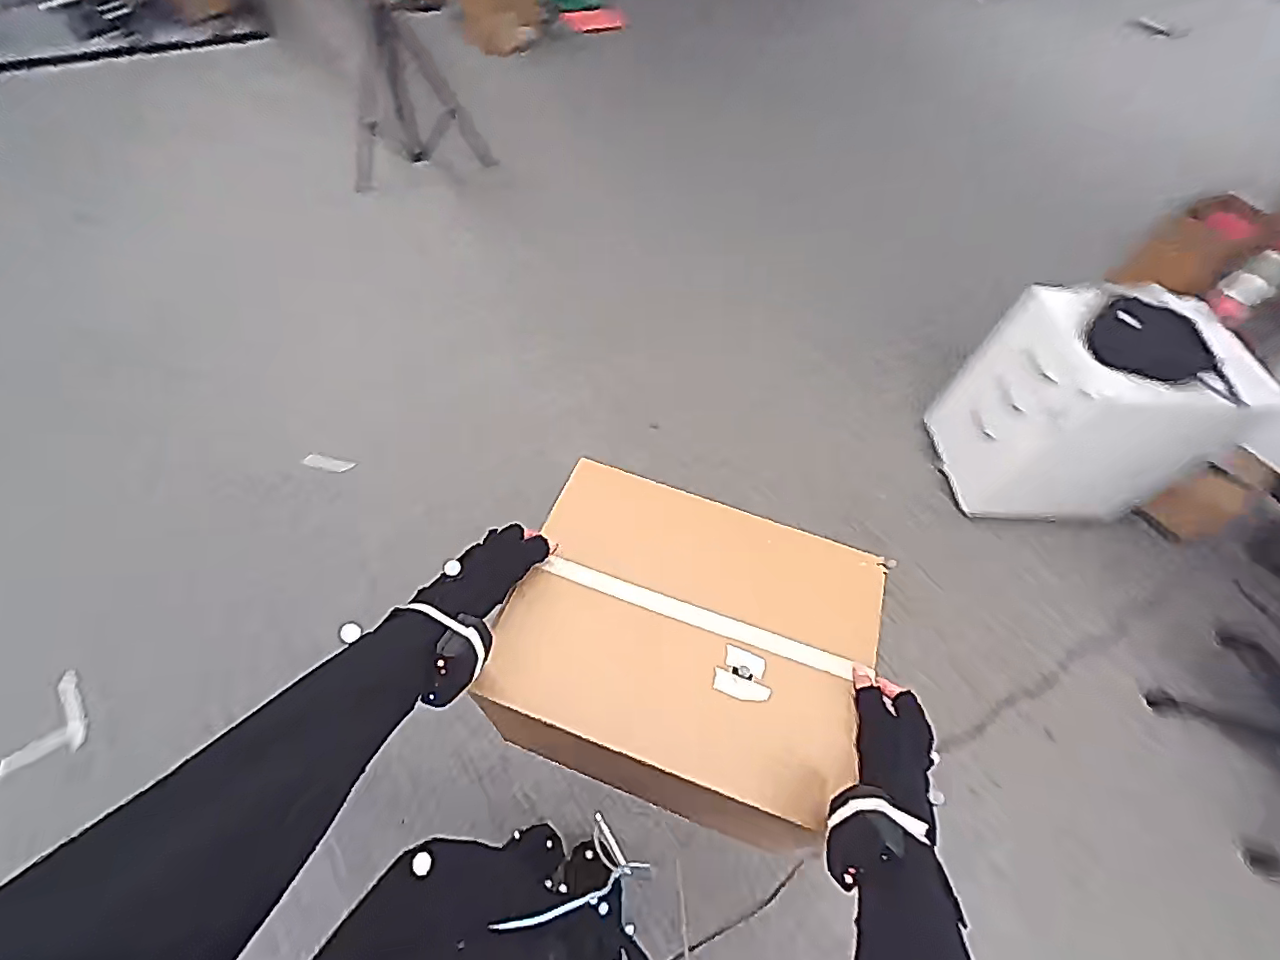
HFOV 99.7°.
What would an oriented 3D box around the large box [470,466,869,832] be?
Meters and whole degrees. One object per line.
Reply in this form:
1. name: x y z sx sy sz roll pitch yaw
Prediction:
1. large box: 0.041 0.237 0.740 0.408 0.320 0.320 18 57 7
